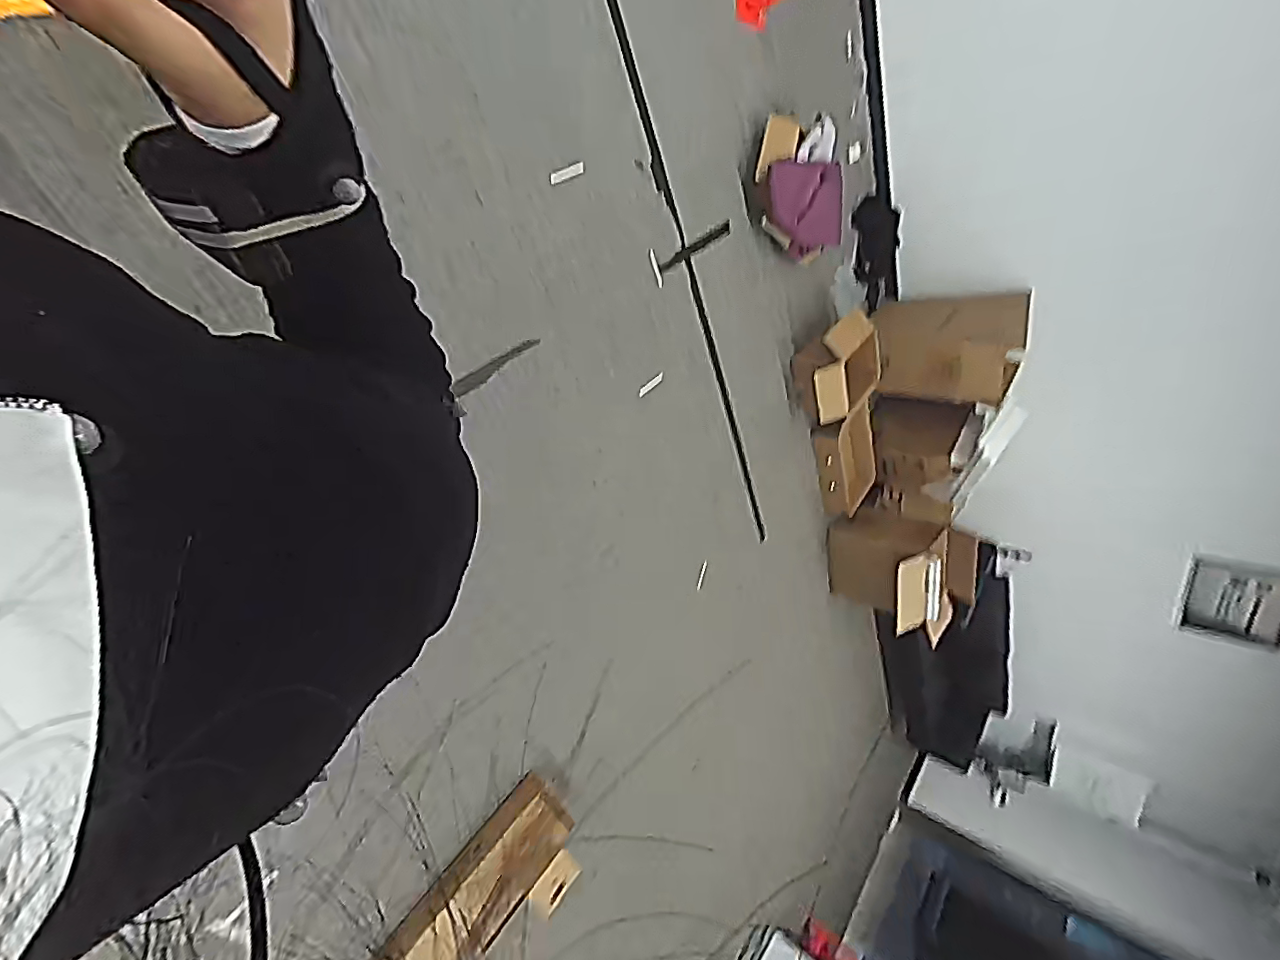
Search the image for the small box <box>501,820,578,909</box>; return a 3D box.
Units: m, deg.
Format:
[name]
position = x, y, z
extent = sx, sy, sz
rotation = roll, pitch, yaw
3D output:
[small box]
position = -0.356, 1.350, 1.909
extent = 0.168, 0.176, 0.179
rotation = -44, 127, -30
